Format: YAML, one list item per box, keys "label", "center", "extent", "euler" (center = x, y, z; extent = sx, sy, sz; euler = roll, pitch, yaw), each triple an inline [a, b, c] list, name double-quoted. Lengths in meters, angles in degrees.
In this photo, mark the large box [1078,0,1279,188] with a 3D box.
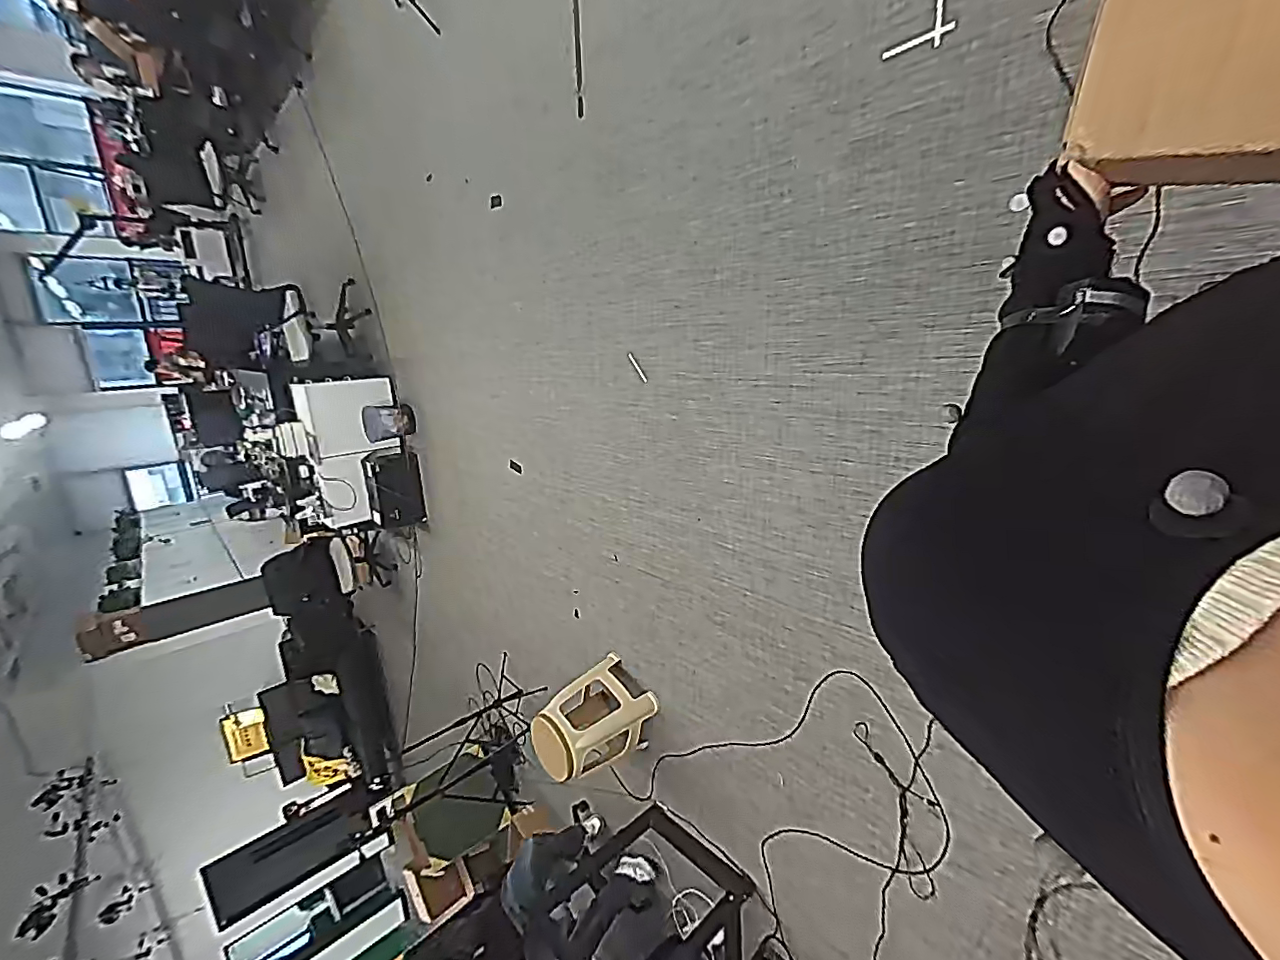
- label: "large box"
  center: [0.450, -0.290, 0.180]
  extent: [0.408, 0.320, 0.320]
  euler: [20, 123, 36]
